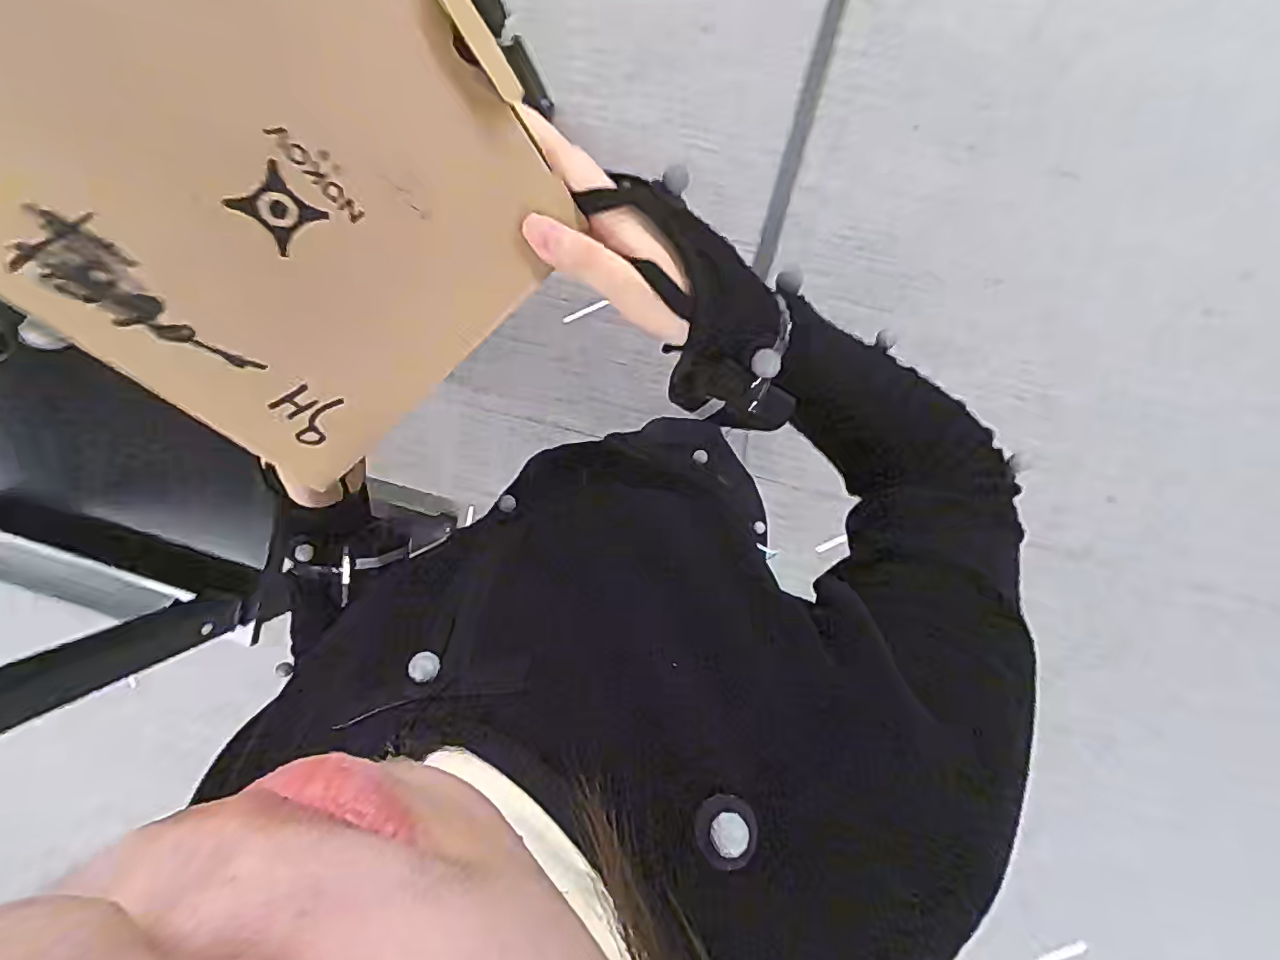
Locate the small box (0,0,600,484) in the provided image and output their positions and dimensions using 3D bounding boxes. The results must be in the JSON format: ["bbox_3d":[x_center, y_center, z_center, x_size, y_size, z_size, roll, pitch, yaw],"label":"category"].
[{"bbox_3d":[-0.157,-0.136,0.254,0.179,0.176,0.168,-44,129,-7],"label":"small box"}]
